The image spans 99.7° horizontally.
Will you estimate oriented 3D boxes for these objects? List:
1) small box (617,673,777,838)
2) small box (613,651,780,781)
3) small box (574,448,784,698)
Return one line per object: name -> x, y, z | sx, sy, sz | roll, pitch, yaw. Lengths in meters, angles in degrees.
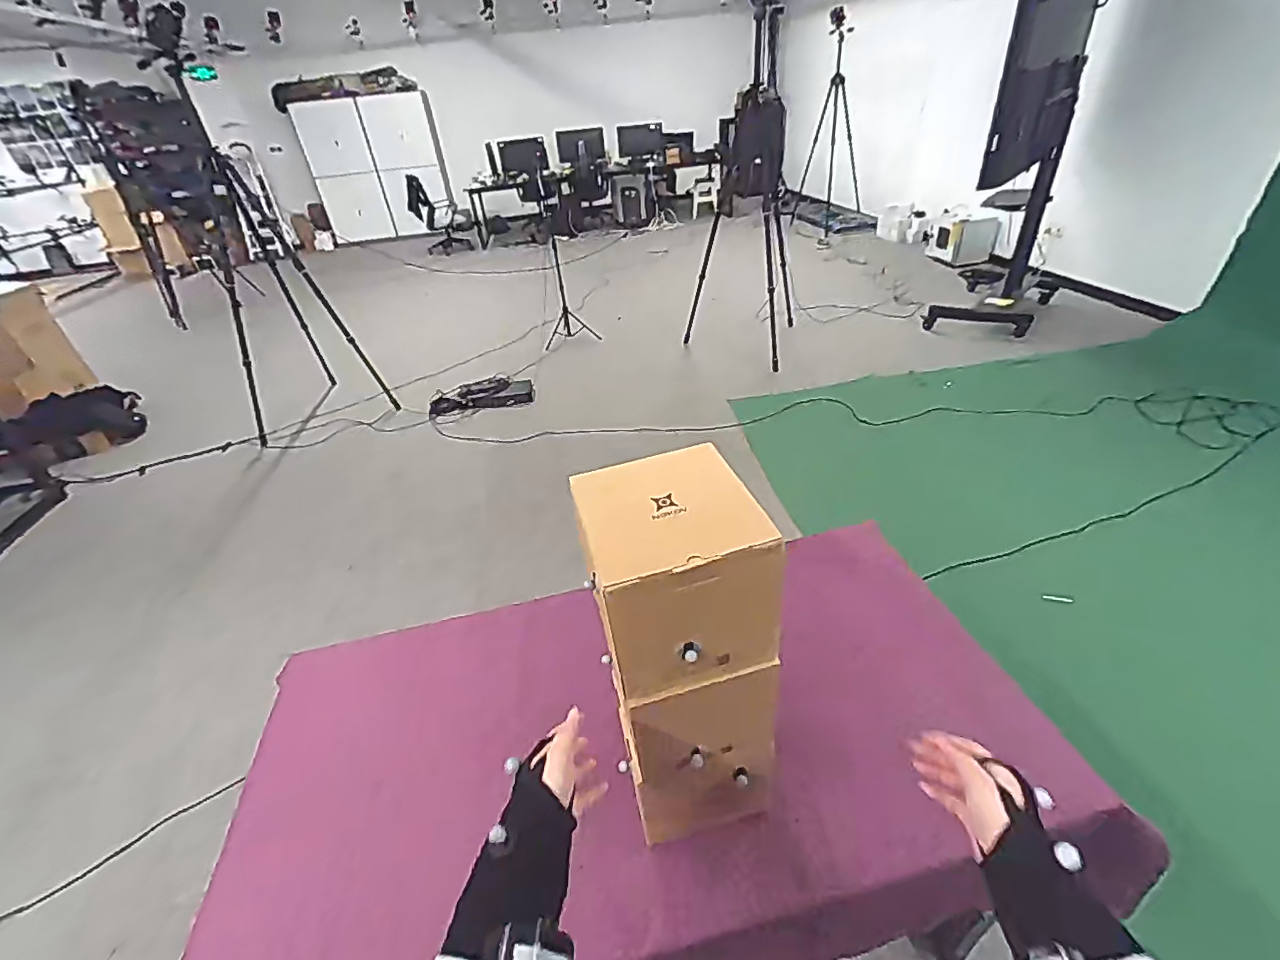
small box -> 0.074, 0.361, 0.756 | 0.179, 0.176, 0.168 | -12, 35, -7
small box -> 0.056, 0.228, 0.664 | 0.168, 0.176, 0.179 | -13, 37, -7
small box -> 0.035, 0.093, 0.575 | 0.168, 0.176, 0.179 | -15, 37, -9
